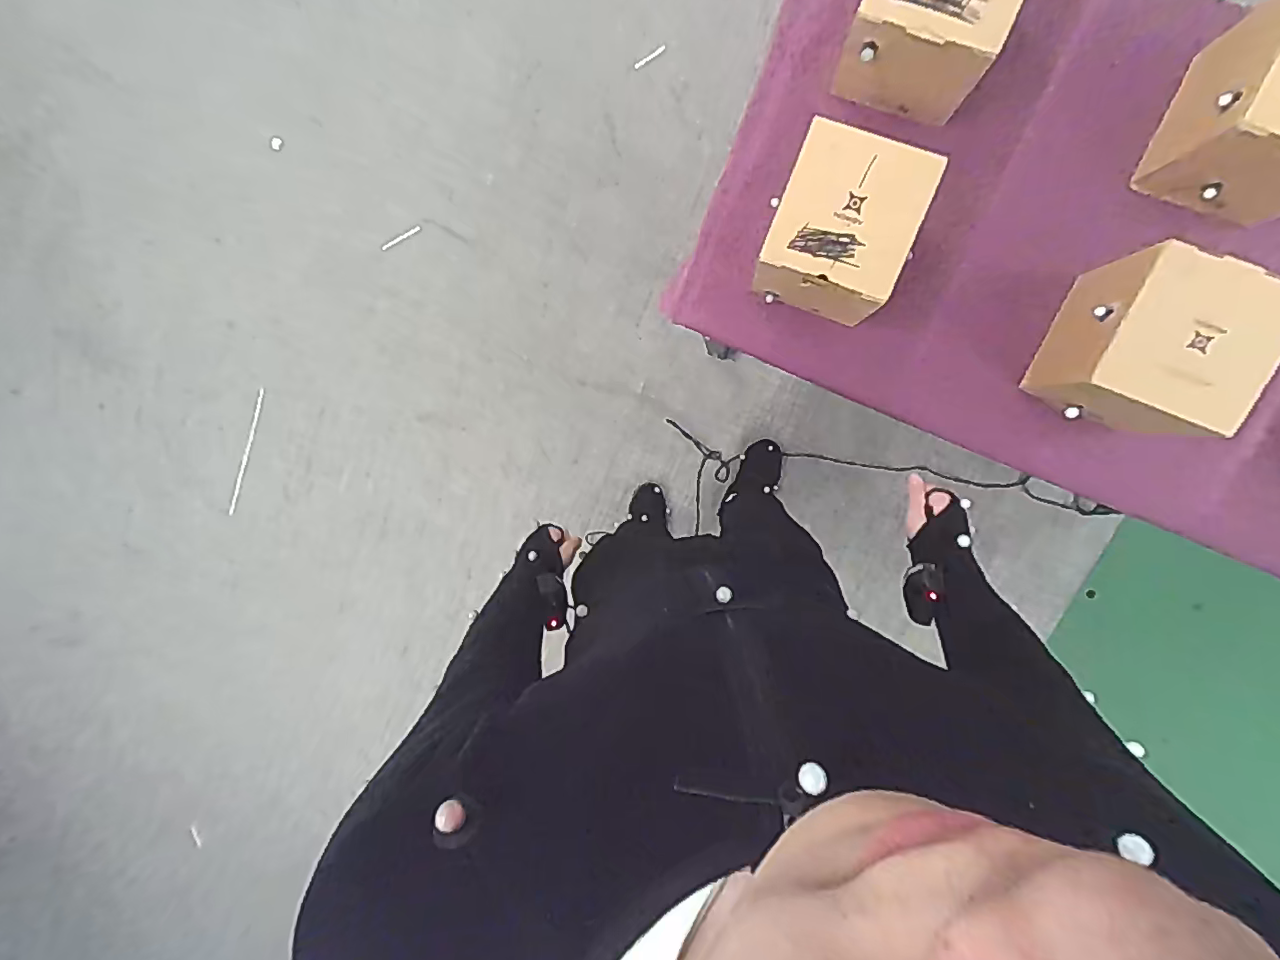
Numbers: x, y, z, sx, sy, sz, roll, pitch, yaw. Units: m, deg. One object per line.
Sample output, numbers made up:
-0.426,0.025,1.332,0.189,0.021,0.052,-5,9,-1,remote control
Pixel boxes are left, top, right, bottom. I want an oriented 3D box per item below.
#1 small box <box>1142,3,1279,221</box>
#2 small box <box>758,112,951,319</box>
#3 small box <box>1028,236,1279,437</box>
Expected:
0.761,-0.438,0.632,0.168,0.176,0.179,22,101,5,small box
0.265,-0.332,0.717,0.168,0.176,0.179,22,98,5,small box
0.645,-0.169,0.684,0.168,0.176,0.179,25,100,6,small box
